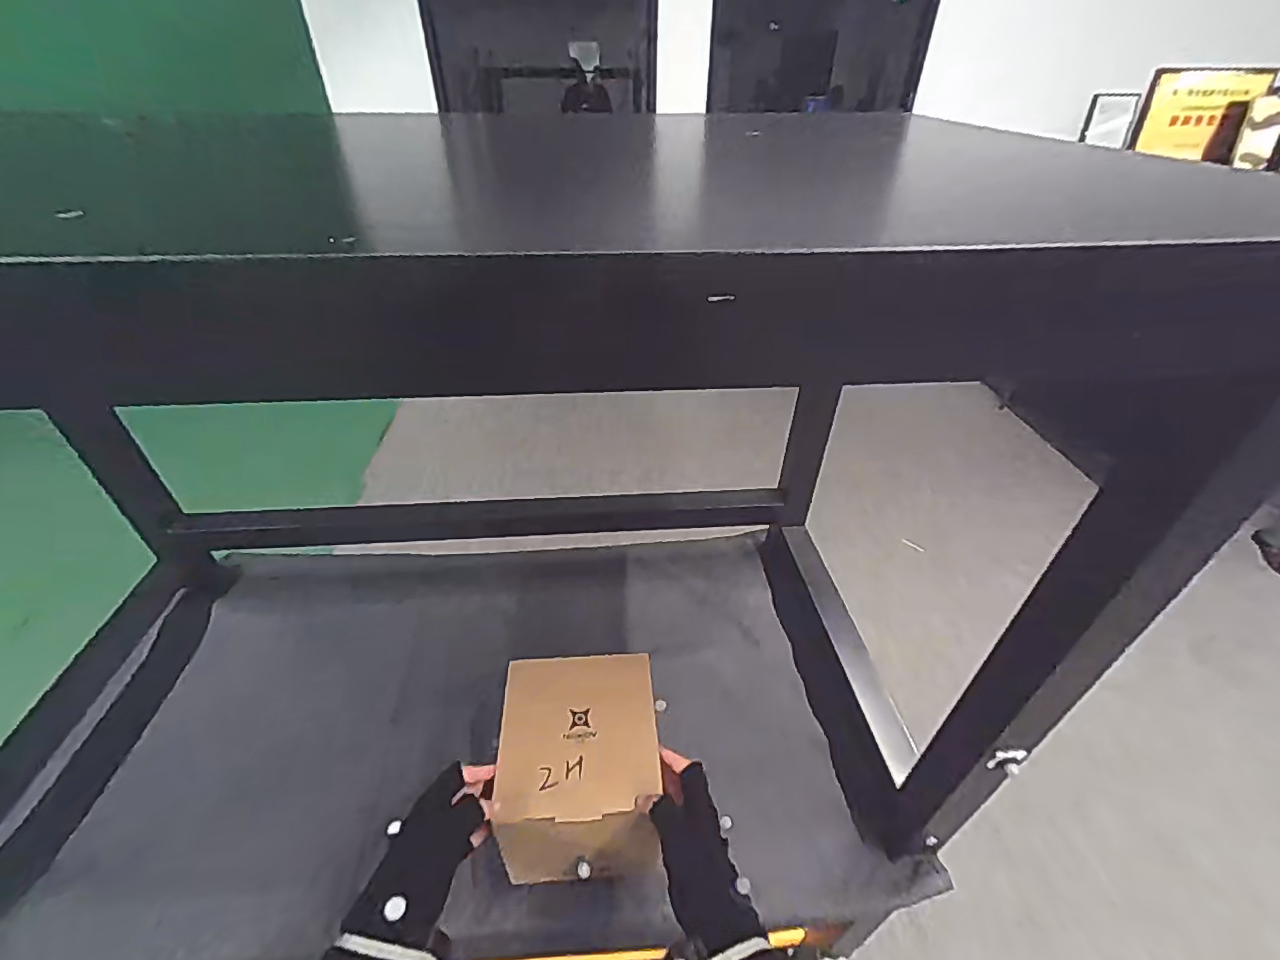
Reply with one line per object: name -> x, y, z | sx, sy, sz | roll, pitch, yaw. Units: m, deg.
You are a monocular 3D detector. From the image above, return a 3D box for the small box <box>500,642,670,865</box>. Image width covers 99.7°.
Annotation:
small box -> -0.060, 0.313, 0.628 | 0.168, 0.176, 0.179 | -2, 38, -4
